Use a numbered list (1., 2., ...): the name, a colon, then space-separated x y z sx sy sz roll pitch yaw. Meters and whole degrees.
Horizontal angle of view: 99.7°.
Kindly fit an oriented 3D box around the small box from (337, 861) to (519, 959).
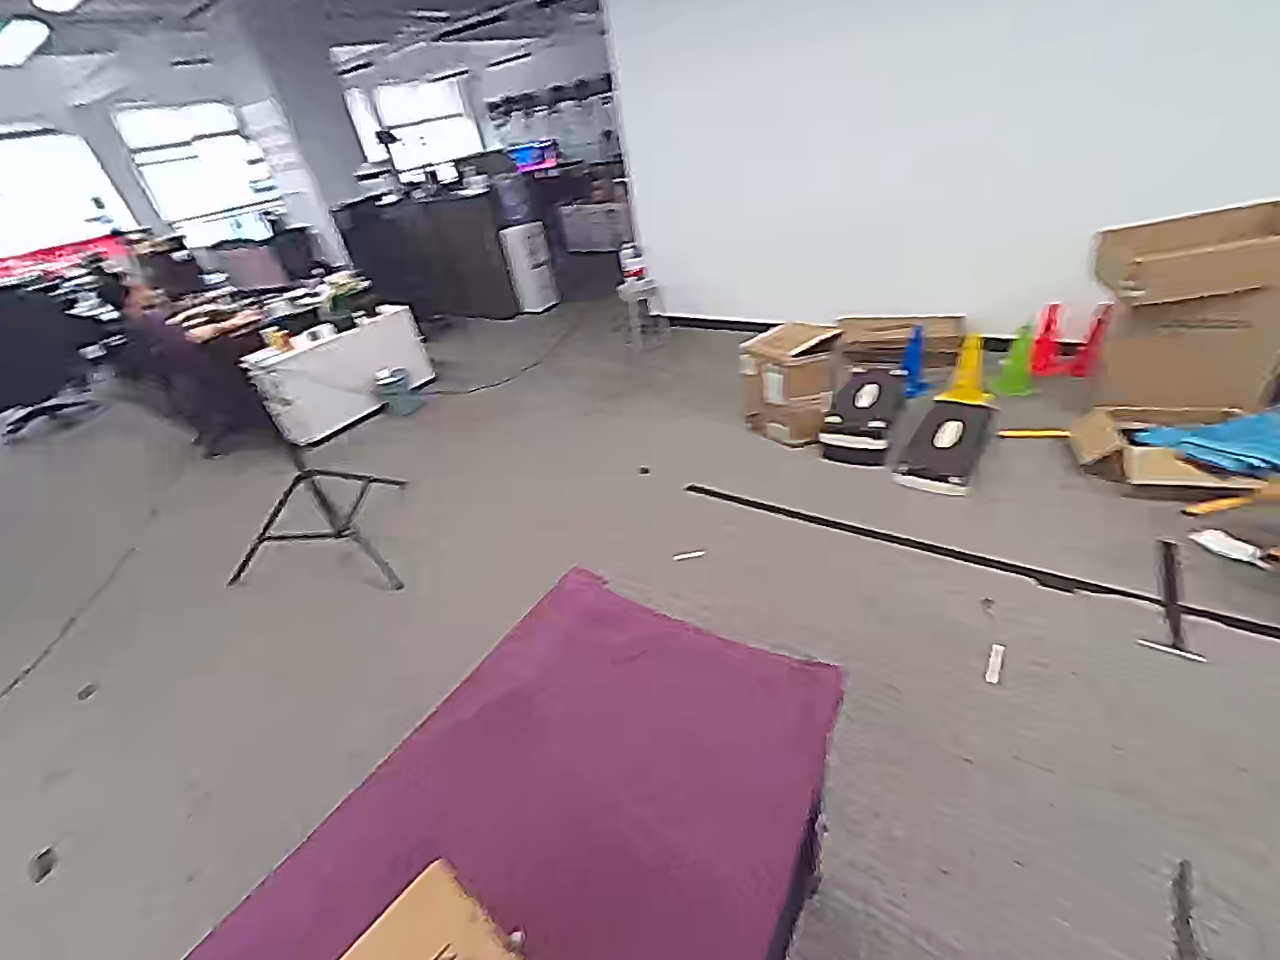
1. small box: -0.213 0.556 0.551 0.168 0.176 0.179 21 45 37
